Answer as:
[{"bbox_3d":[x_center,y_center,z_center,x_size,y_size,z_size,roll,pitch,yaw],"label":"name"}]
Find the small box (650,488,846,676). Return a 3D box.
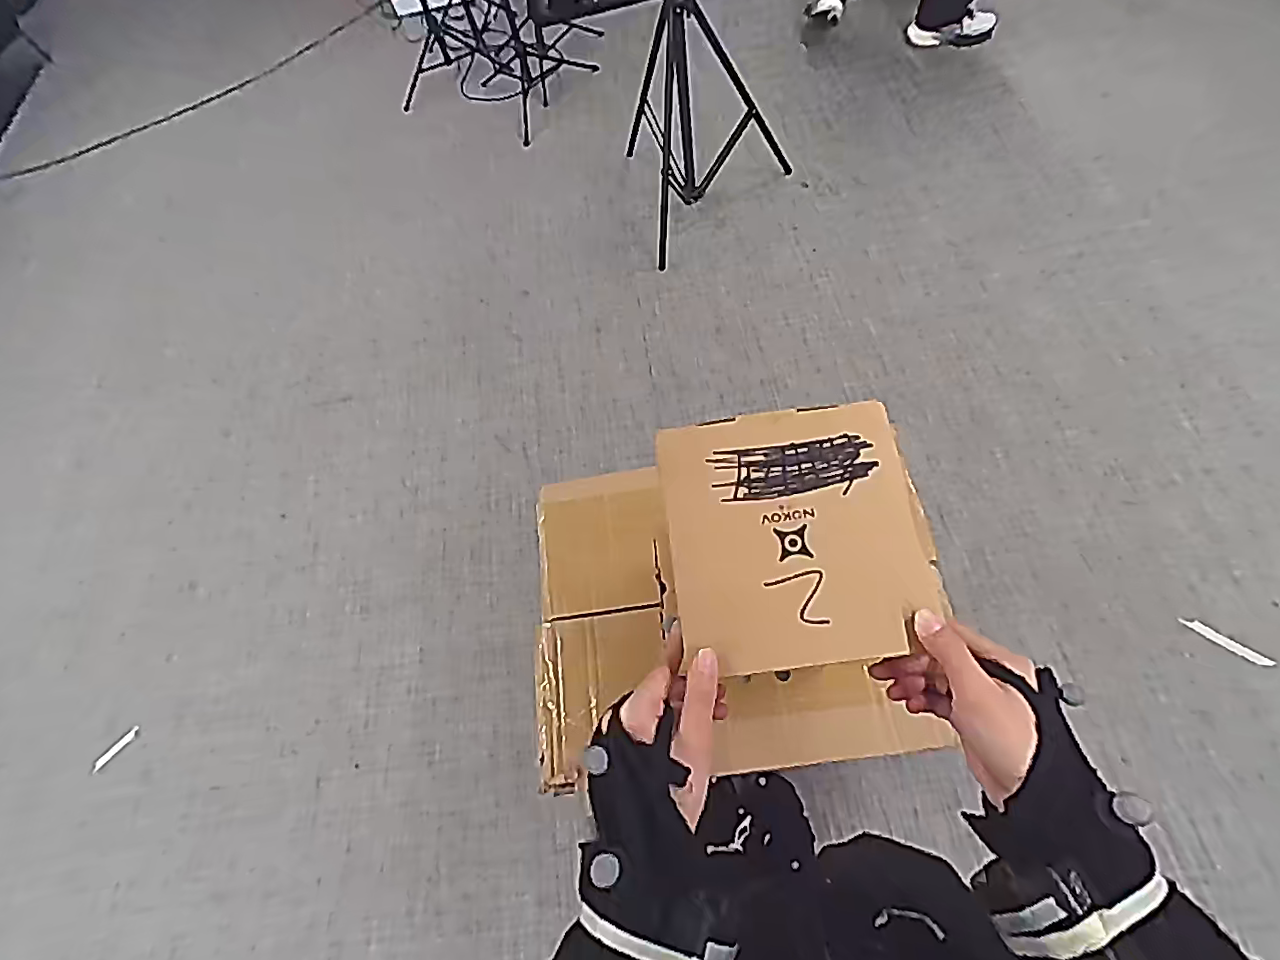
[{"bbox_3d":[0.115,0.126,0.620,0.179,0.176,0.168,-8,65,5],"label":"small box"}]
